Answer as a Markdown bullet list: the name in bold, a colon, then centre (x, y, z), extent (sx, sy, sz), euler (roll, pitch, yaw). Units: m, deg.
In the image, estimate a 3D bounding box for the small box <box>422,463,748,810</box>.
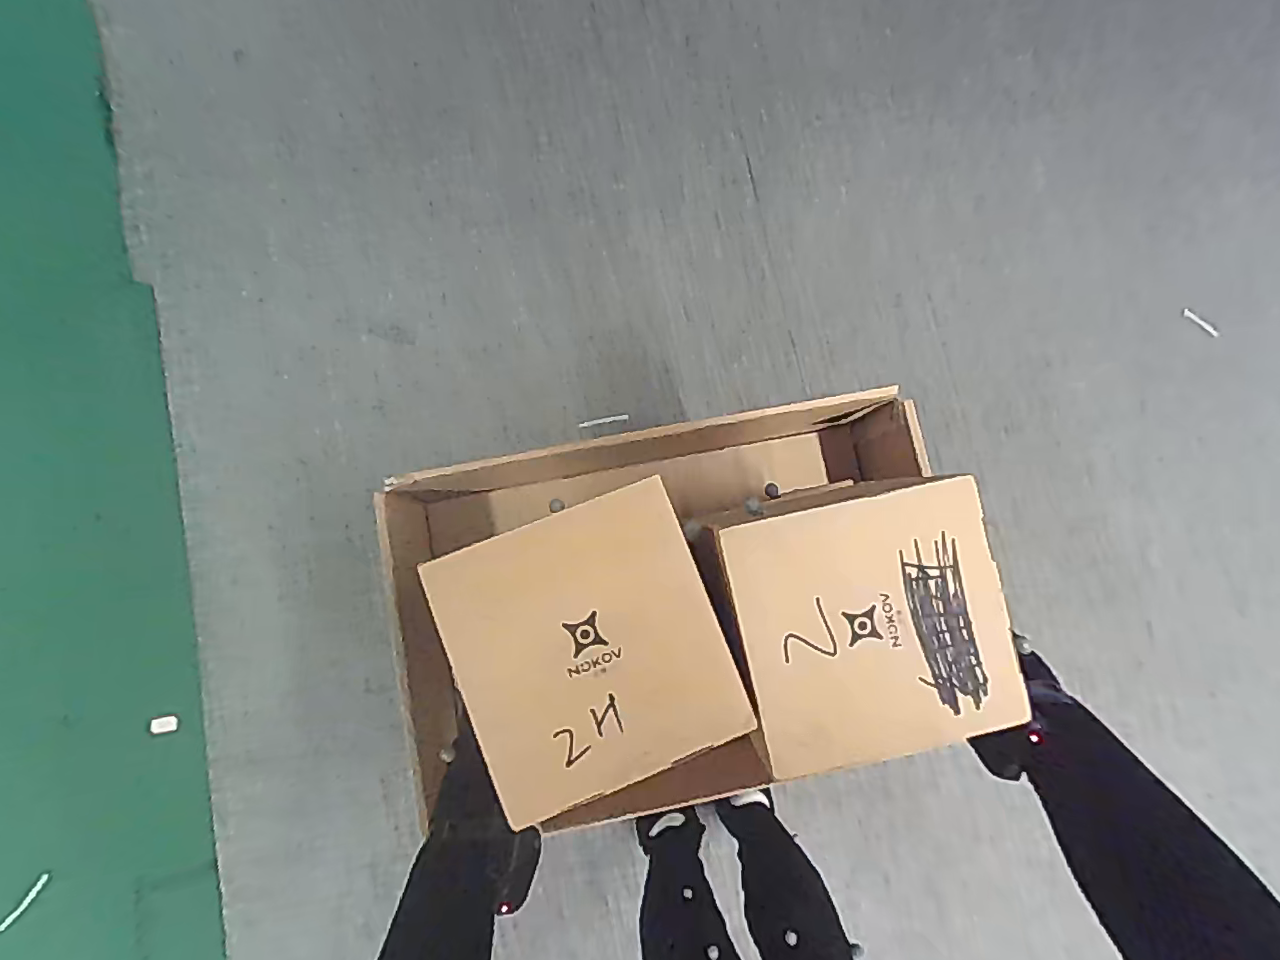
- **small box**: centre (-0.039, 0.103, 0.422), extent (0.168, 0.176, 0.179), euler (-21, 86, -3)
